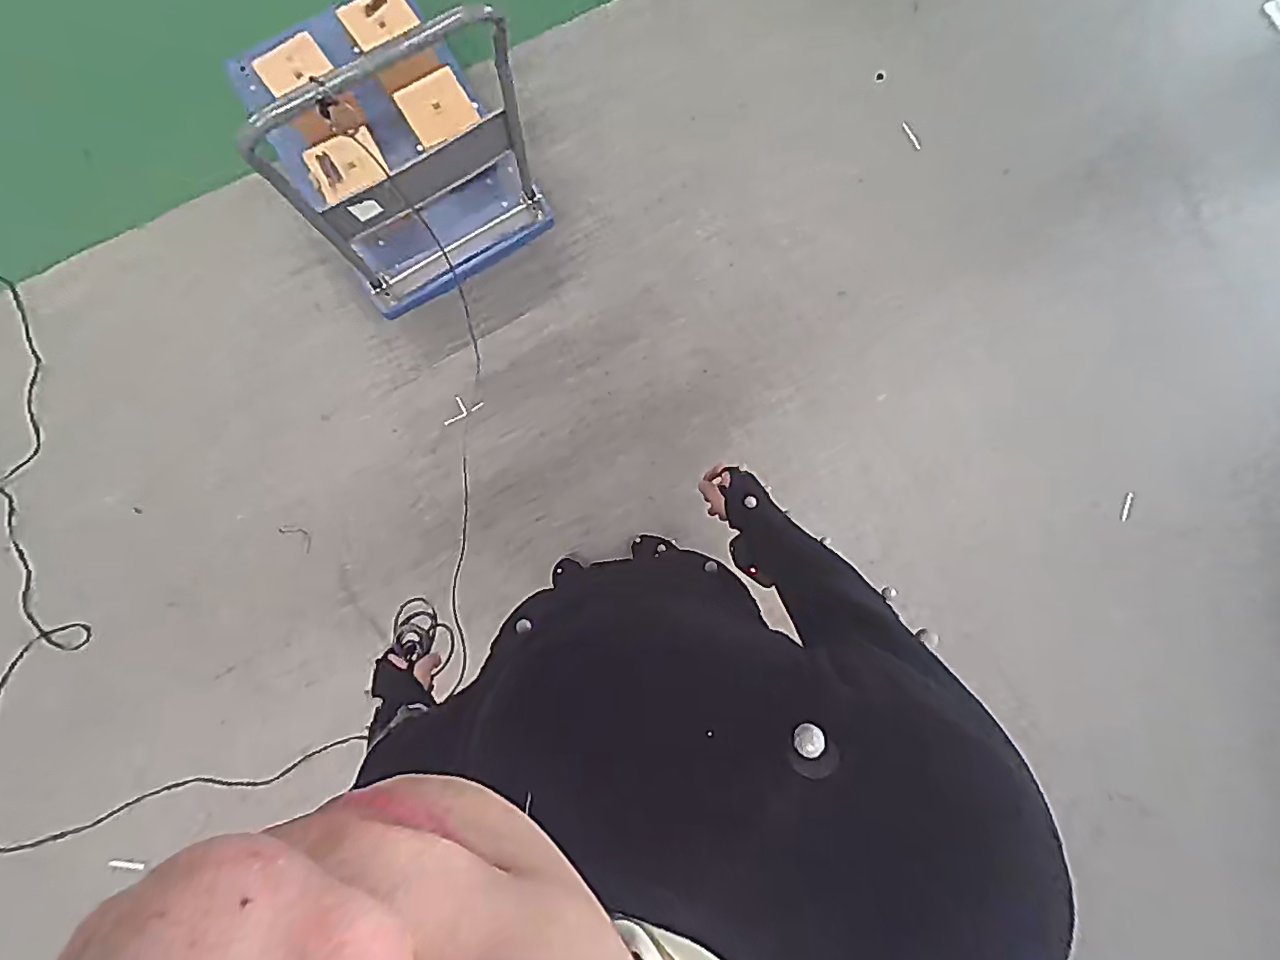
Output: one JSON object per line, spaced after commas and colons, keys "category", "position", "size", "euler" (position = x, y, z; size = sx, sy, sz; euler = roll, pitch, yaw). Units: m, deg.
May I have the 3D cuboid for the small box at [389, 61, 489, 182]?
{"category": "small box", "position": [-0.532, -0.951, 1.449], "size": [0.168, 0.176, 0.179], "euler": [-32, 89, -5]}

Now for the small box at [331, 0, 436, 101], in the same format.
{"category": "small box", "position": [-0.677, -1.178, 1.455], "size": [0.168, 0.176, 0.179], "euler": [-37, 90, -4]}

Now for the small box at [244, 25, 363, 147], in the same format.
{"category": "small box", "position": [-0.878, -1.028, 1.432], "size": [0.168, 0.176, 0.179], "euler": [-36, 89, -6]}
